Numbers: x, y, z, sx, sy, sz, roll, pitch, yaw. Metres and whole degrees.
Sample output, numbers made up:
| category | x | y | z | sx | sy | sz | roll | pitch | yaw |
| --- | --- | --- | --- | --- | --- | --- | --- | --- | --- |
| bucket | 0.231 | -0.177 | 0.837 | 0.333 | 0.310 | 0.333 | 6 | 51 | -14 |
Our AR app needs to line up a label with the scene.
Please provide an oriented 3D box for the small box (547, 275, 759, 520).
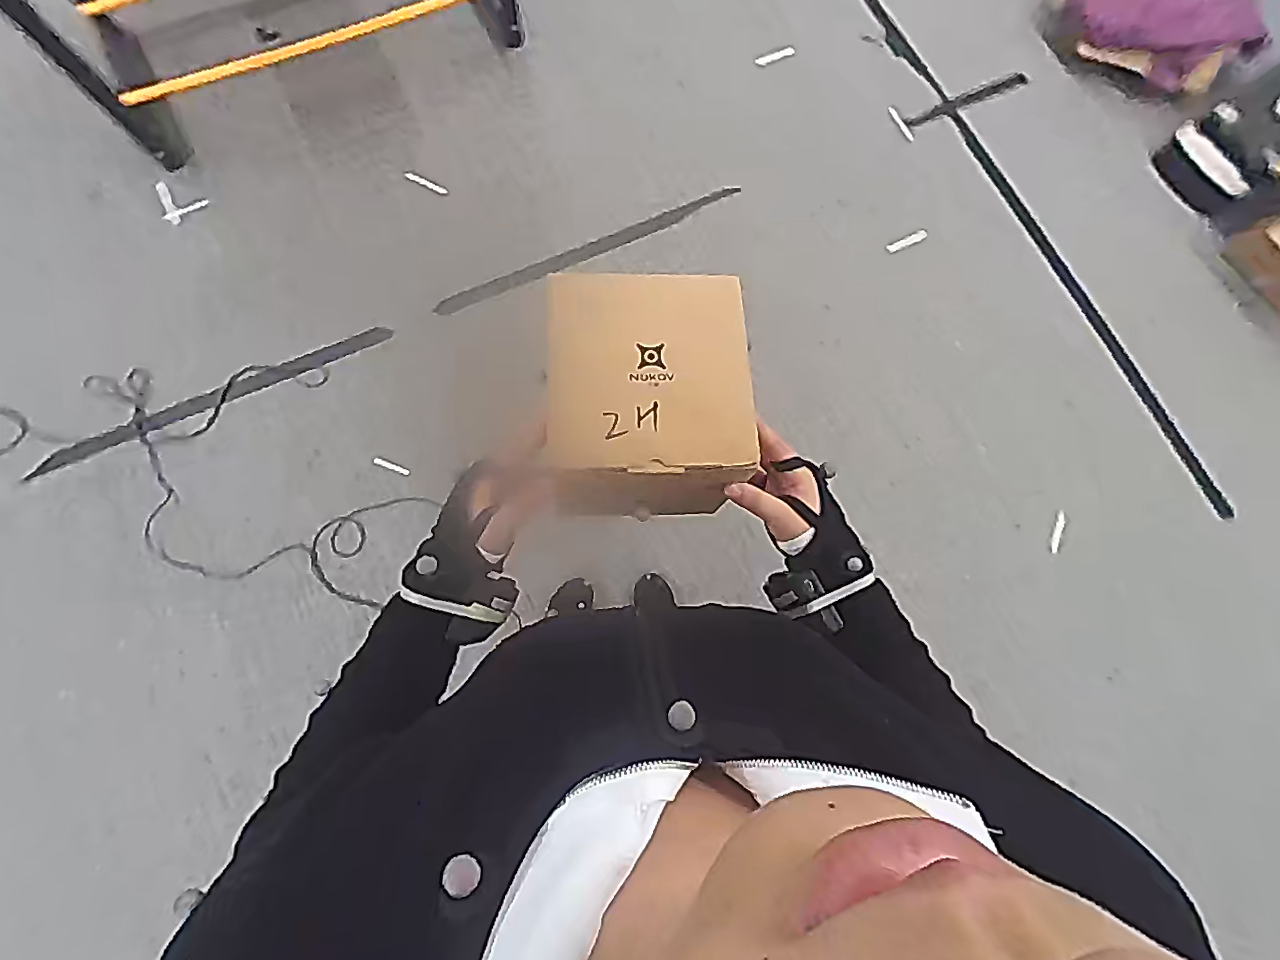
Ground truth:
| category | x | y | z | sx | sy | sz | roll | pitch | yaw |
| --- | --- | --- | --- | --- | --- | --- | --- | --- | --- |
| small box | 0.001 | -0.068 | 0.509 | 0.168 | 0.176 | 0.179 | -2 | 73 | -4 |
